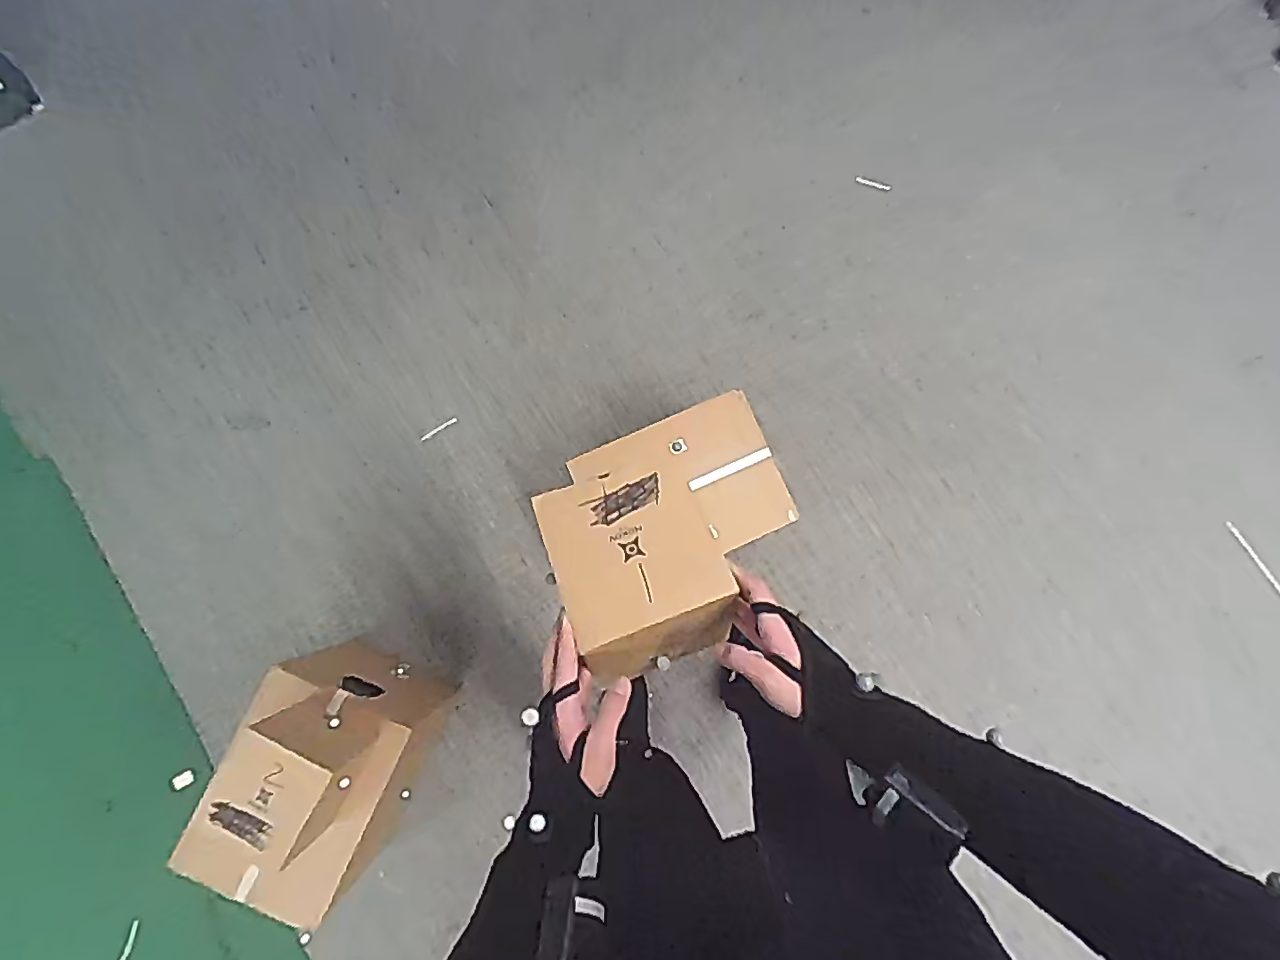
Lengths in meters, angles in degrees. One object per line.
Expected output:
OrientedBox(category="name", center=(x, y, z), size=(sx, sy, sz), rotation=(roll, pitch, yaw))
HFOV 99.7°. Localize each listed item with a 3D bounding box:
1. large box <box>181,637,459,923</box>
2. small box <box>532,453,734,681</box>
OrientedBox(category="large box", center=(-0.659, 0.612, 1.190), size=(0.320, 0.320, 0.408), rotation=(23, 84, 3))
OrientedBox(category="small box", center=(-0.010, 0.104, 0.614), size=(0.168, 0.176, 0.179), rotation=(-19, 60, -7))
